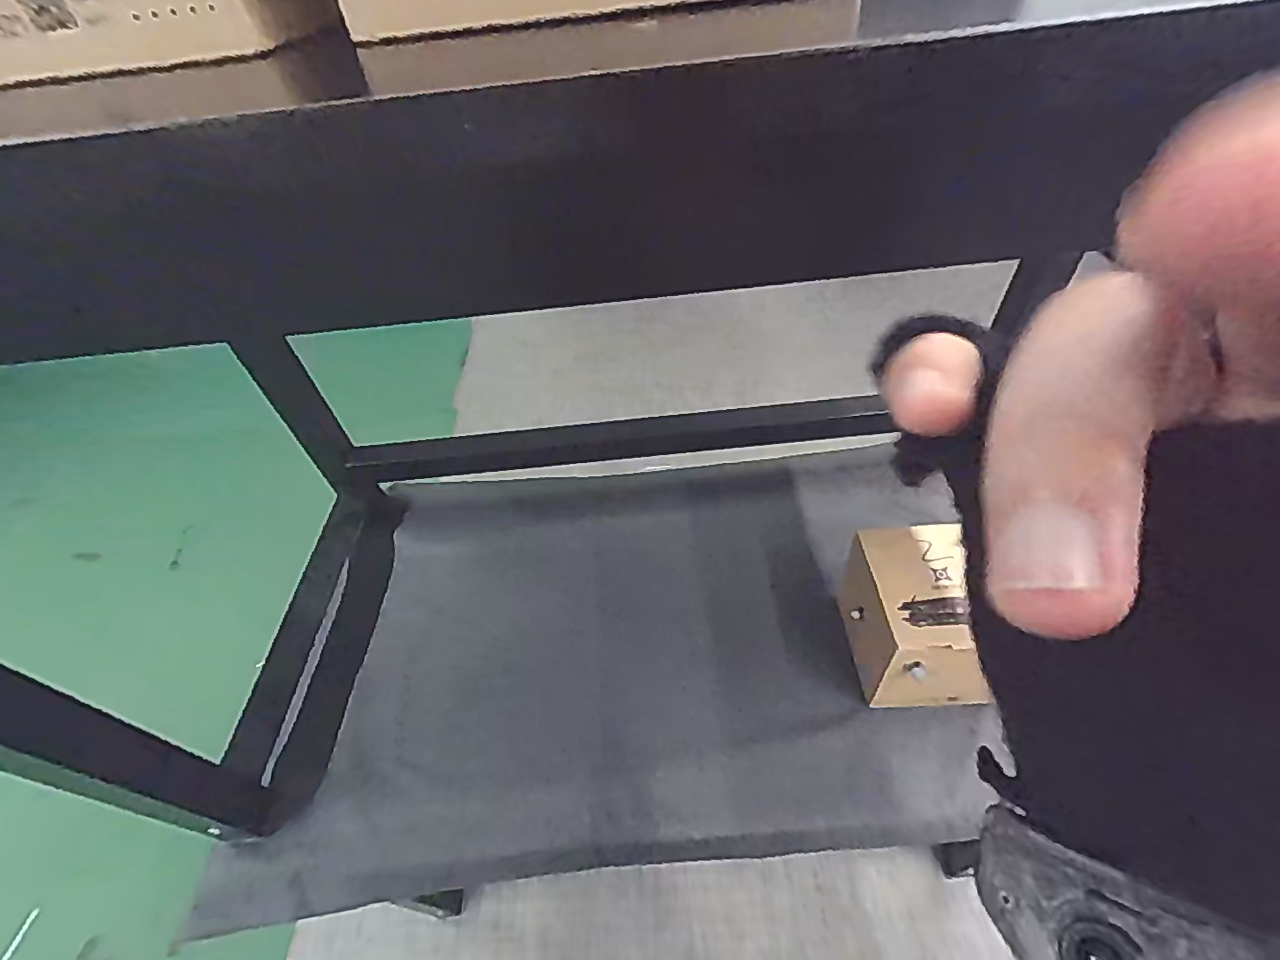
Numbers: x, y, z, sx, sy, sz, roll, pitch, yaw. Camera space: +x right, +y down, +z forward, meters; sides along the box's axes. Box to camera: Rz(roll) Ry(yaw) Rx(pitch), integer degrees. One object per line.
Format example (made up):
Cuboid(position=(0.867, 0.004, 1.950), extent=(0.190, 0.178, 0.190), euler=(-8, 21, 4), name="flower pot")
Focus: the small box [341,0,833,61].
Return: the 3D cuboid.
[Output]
Cuboid(position=(-0.024, -0.264, 0.185), extent=(0.179, 0.176, 0.168), euler=(-3, 47, 4), name="small box")
